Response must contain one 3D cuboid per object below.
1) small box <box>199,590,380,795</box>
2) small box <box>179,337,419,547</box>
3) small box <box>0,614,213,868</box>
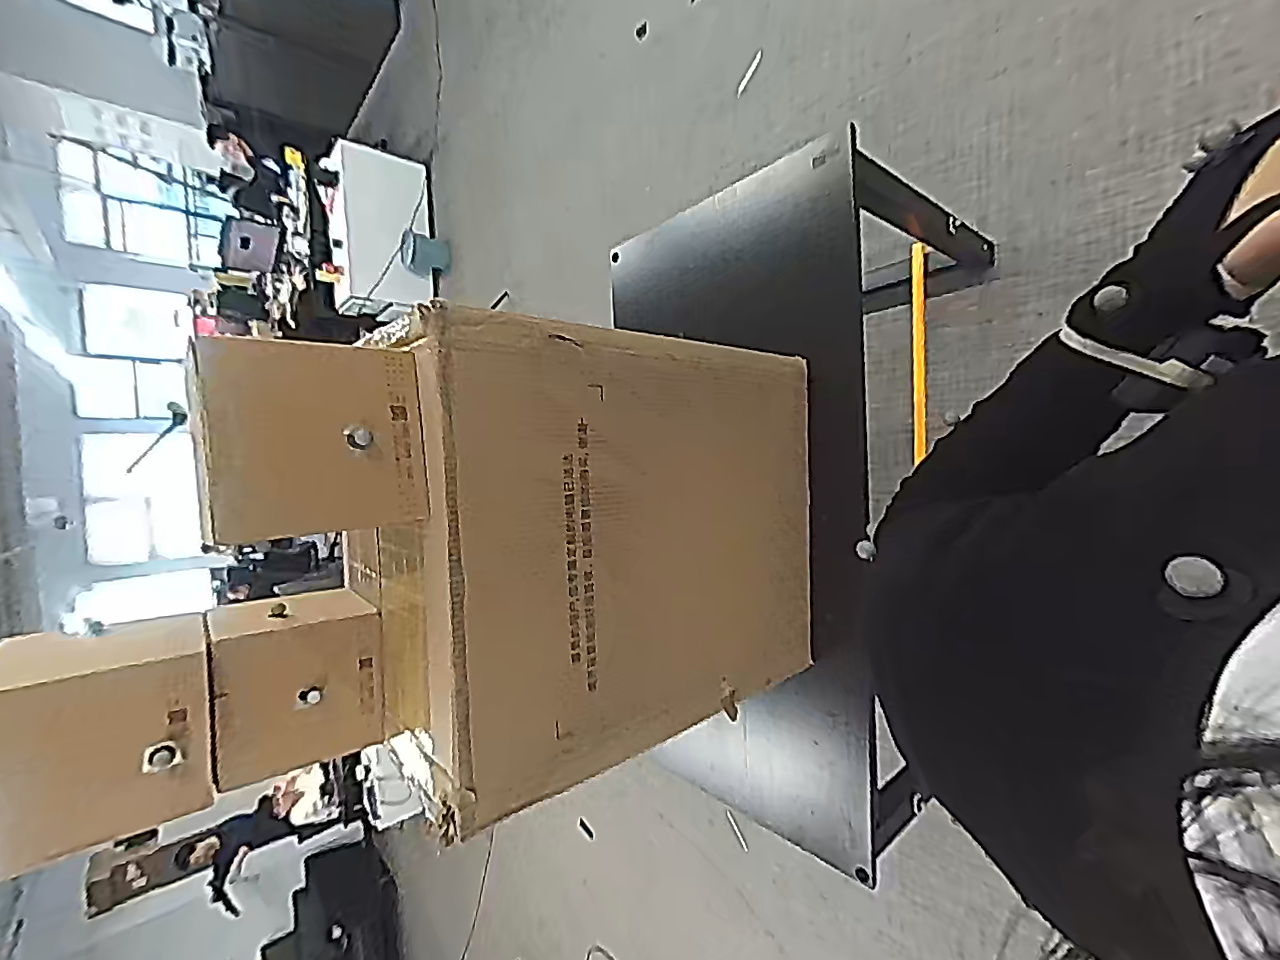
[{"bbox_3d":[-0.432,0.241,0.671,0.179,0.176,0.168,1,93,49],"label":"small box"},{"bbox_3d":[-0.332,-0.032,0.528,0.179,0.176,0.168,-4,92,48],"label":"small box"},{"bbox_3d":[-0.547,0.246,0.553,0.179,0.176,0.168,4,96,49],"label":"small box"}]
